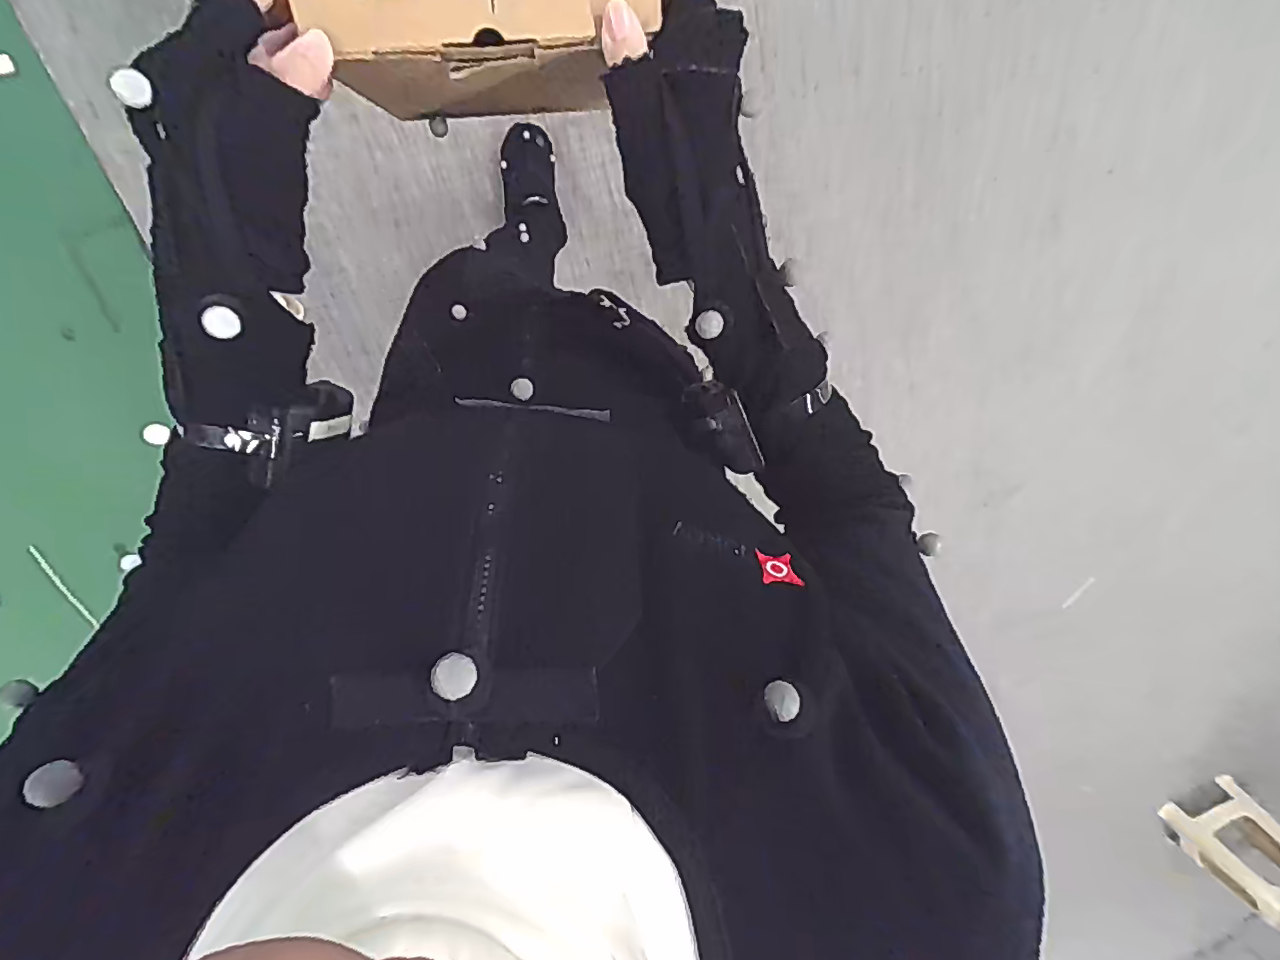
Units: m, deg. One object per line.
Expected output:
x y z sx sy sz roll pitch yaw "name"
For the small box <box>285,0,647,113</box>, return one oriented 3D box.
-0.090 -0.313 0.289 0.168 0.176 0.179 -7 115 -4 "small box"
